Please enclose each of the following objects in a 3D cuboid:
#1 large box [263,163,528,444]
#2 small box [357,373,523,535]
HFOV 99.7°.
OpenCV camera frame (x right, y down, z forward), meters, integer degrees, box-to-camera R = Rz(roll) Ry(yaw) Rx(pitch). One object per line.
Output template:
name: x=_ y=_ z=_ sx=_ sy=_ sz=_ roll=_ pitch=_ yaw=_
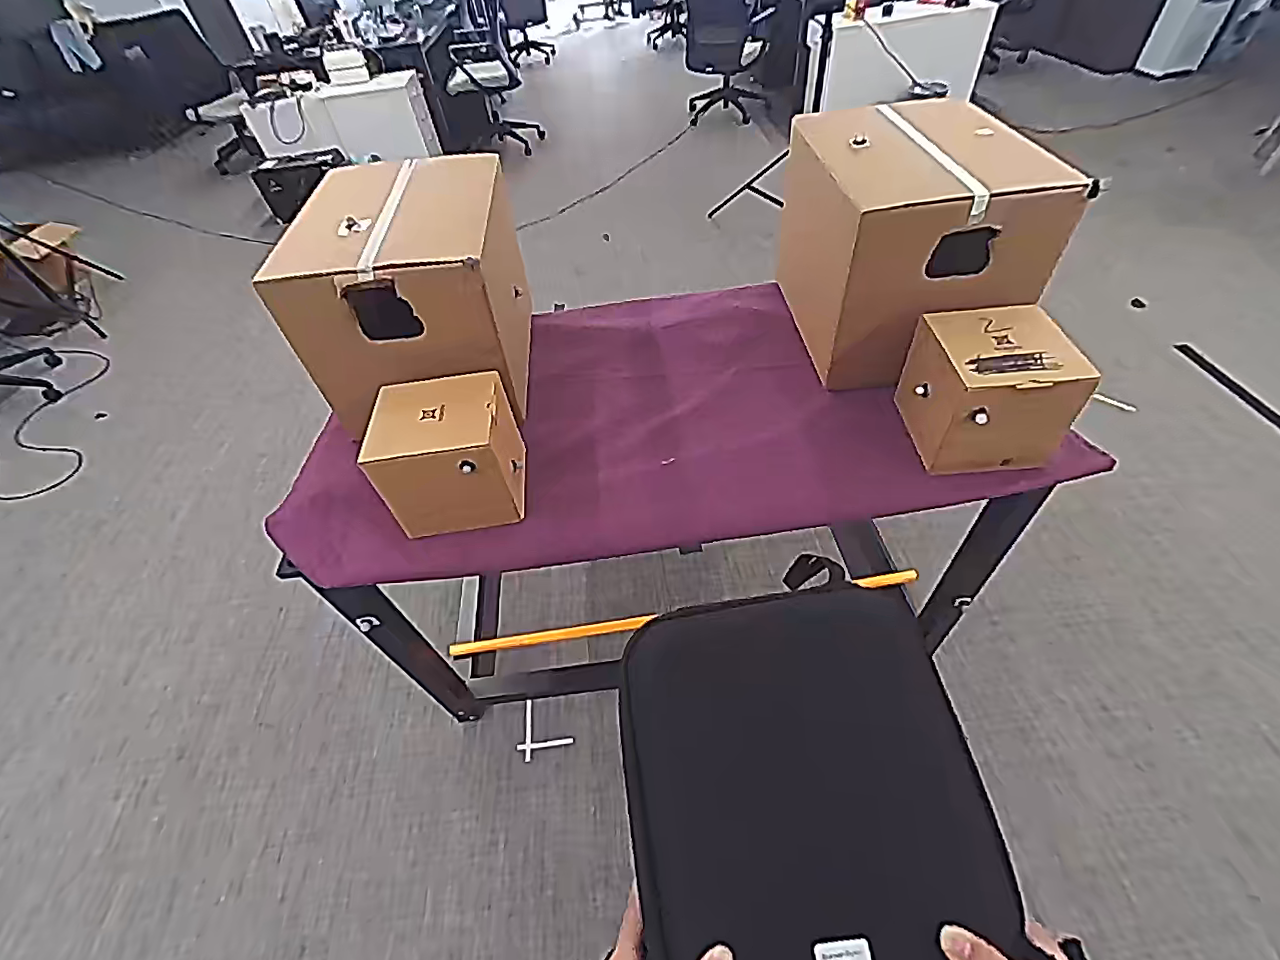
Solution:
large box: x=-0.385 y=-0.322 z=0.982 sx=0.320 sy=0.320 sz=0.408 roll=-8 pitch=51 yaw=-2
small box: x=-0.285 y=-0.035 z=0.813 sx=0.179 sy=0.176 sz=0.168 roll=-9 pitch=47 yaw=-2
